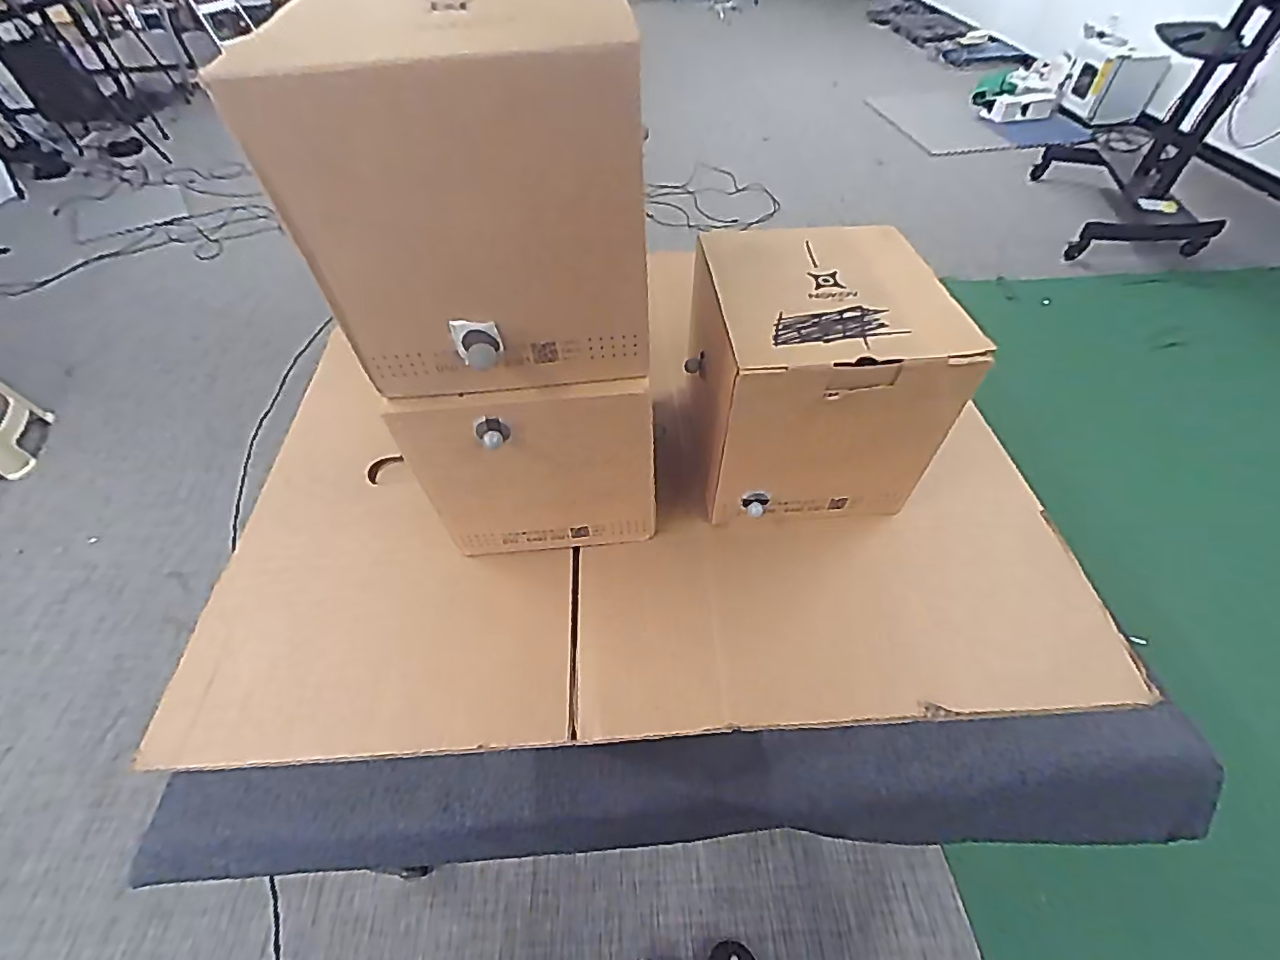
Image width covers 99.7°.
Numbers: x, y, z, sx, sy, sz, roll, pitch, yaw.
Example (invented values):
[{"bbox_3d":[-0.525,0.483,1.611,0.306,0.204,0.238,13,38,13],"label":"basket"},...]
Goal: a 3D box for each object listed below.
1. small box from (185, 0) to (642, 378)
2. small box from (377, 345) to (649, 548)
[{"bbox_3d":[-0.090,-0.183,0.310,0.168,0.176,0.179,-7,53,-2],"label":"small box"},{"bbox_3d":[-0.081,-0.065,0.444,0.168,0.176,0.179,-5,51,0],"label":"small box"}]
